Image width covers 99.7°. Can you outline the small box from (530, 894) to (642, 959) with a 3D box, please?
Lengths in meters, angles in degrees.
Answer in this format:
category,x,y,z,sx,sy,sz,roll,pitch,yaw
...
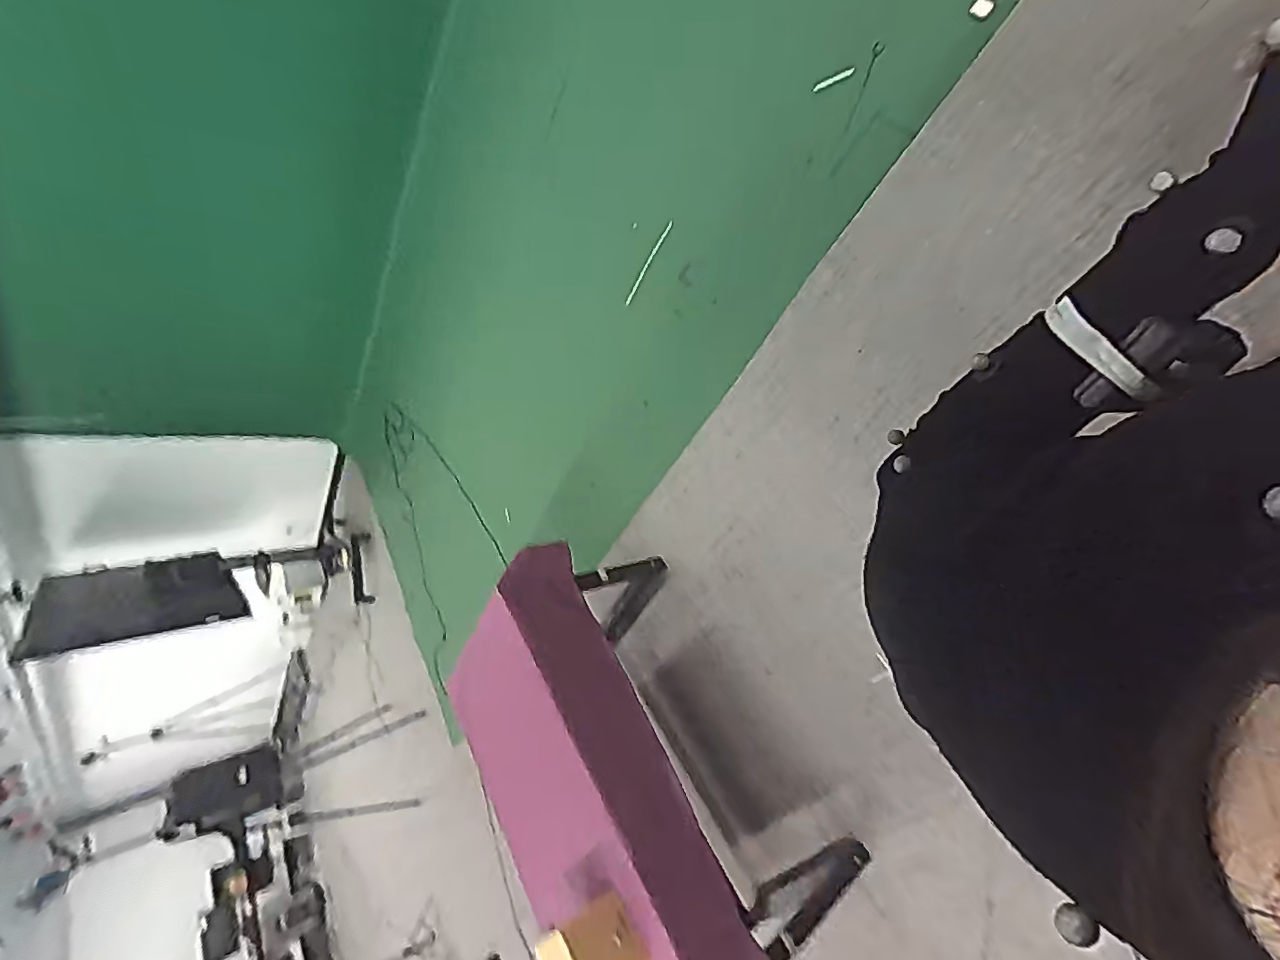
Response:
category,x,y,z,sx,sy,sz,roll,pitch,yaw
small box,-0.124,1.113,1.256,0.168,0.176,0.179,55,128,29
